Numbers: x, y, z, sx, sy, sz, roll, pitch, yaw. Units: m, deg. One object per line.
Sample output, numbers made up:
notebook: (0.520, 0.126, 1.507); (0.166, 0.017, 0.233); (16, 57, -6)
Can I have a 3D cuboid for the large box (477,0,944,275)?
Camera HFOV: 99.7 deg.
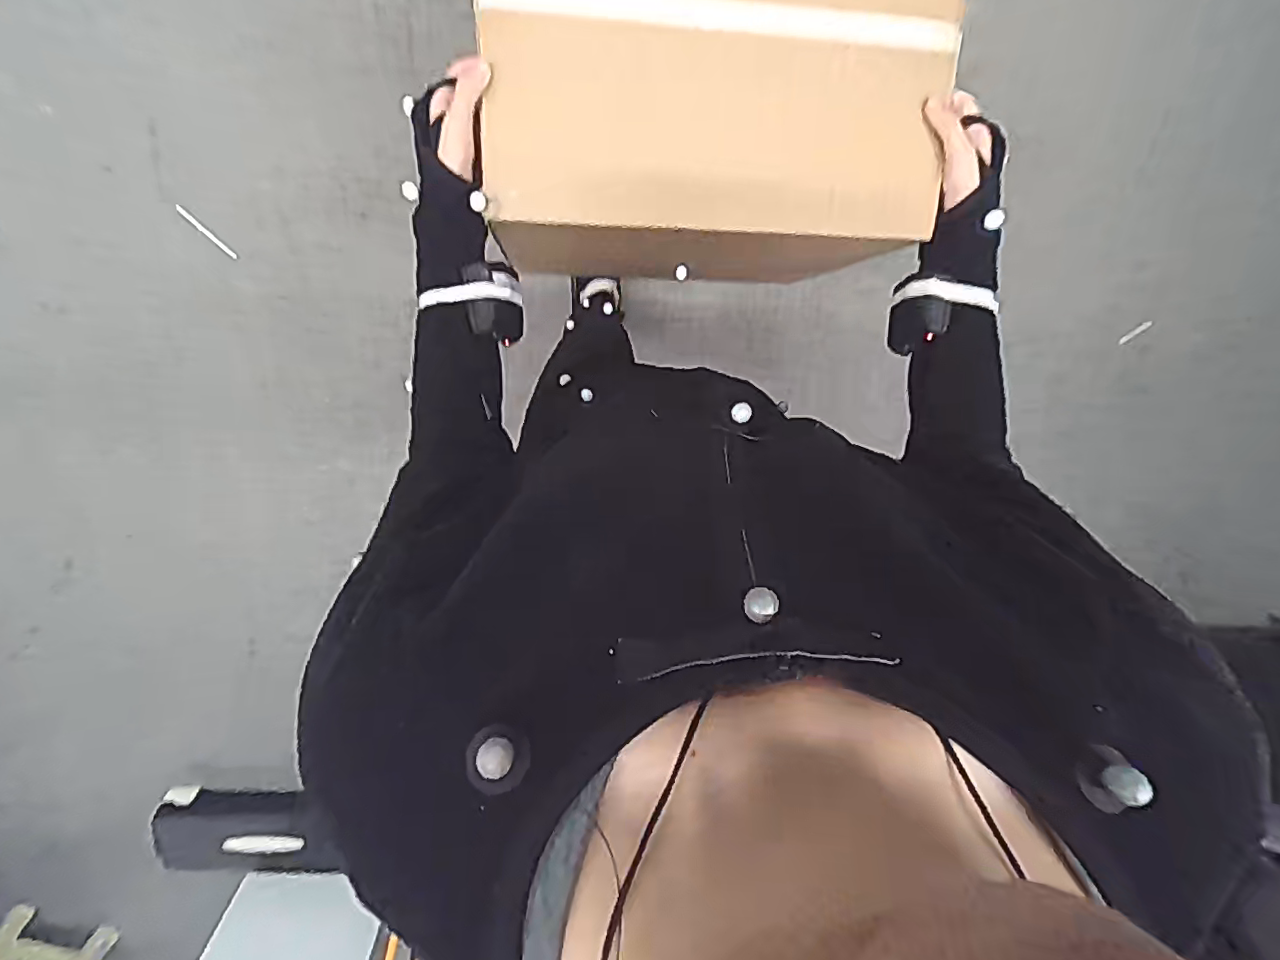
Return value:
large box: (0.049, -0.409, 0.599); (0.408, 0.320, 0.320); (-1, 103, -8)
